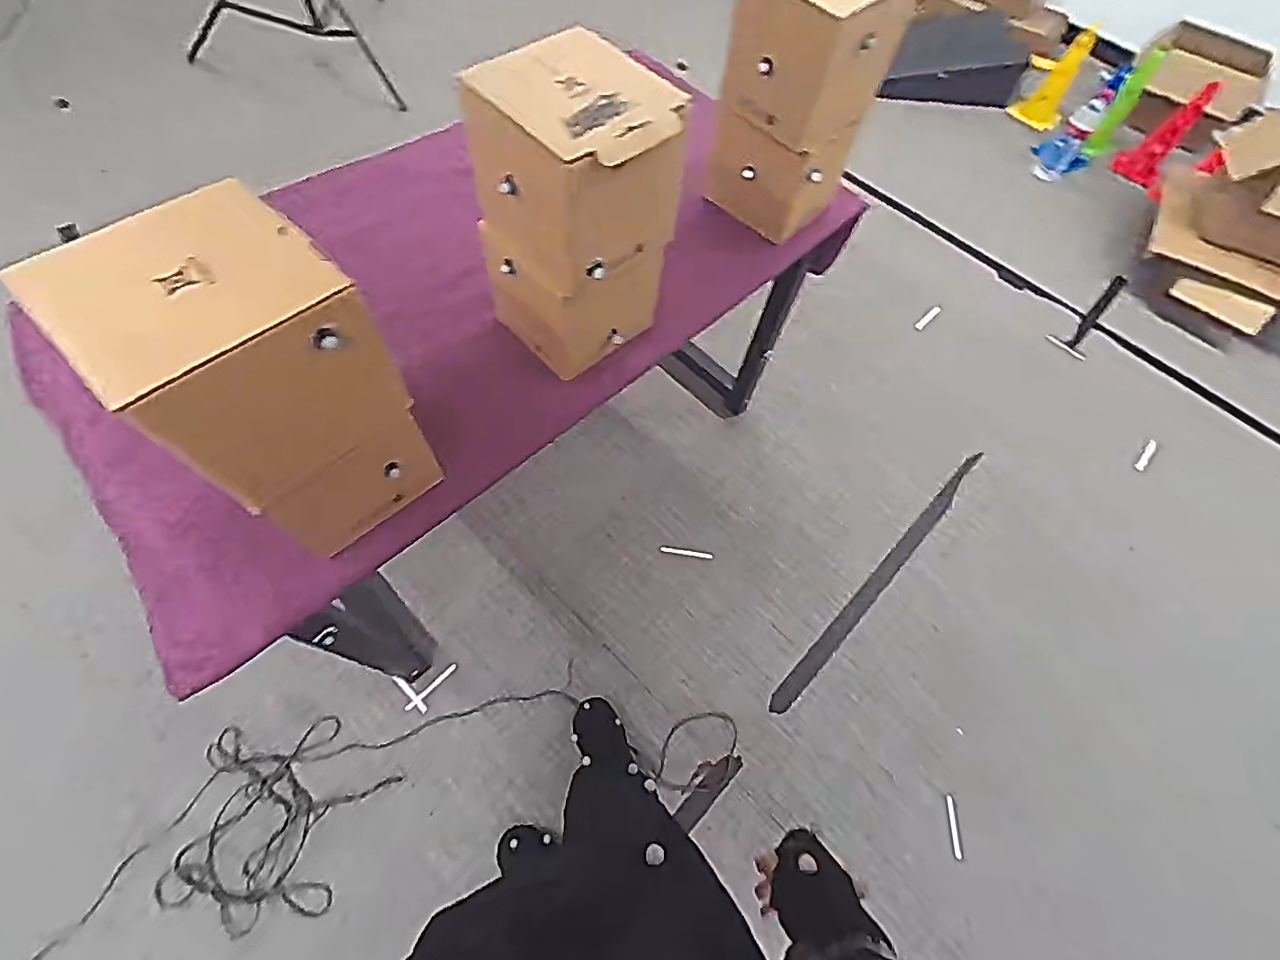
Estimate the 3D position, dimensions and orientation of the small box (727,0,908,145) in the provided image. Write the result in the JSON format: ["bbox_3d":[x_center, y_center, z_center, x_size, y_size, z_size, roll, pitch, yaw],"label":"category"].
[{"bbox_3d":[0.240,-0.614,0.760,0.179,0.176,0.168,-38,73,-20],"label":"small box"}]

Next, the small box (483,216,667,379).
[{"bbox_3d":[-0.090,-0.278,0.751,0.179,0.176,0.168,-40,74,-22],"label":"small box"}]

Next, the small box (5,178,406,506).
[{"bbox_3d":[-0.337,-0.108,0.463,0.168,0.176,0.179,40,65,13],"label":"small box"}]

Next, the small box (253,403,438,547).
[{"bbox_3d":[-0.358,-0.044,0.612,0.168,0.176,0.179,-40,73,-23],"label":"small box"}]

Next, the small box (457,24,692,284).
[{"bbox_3d":[-0.069,-0.348,0.602,0.168,0.176,0.179,-39,73,-21],"label":"small box"}]
